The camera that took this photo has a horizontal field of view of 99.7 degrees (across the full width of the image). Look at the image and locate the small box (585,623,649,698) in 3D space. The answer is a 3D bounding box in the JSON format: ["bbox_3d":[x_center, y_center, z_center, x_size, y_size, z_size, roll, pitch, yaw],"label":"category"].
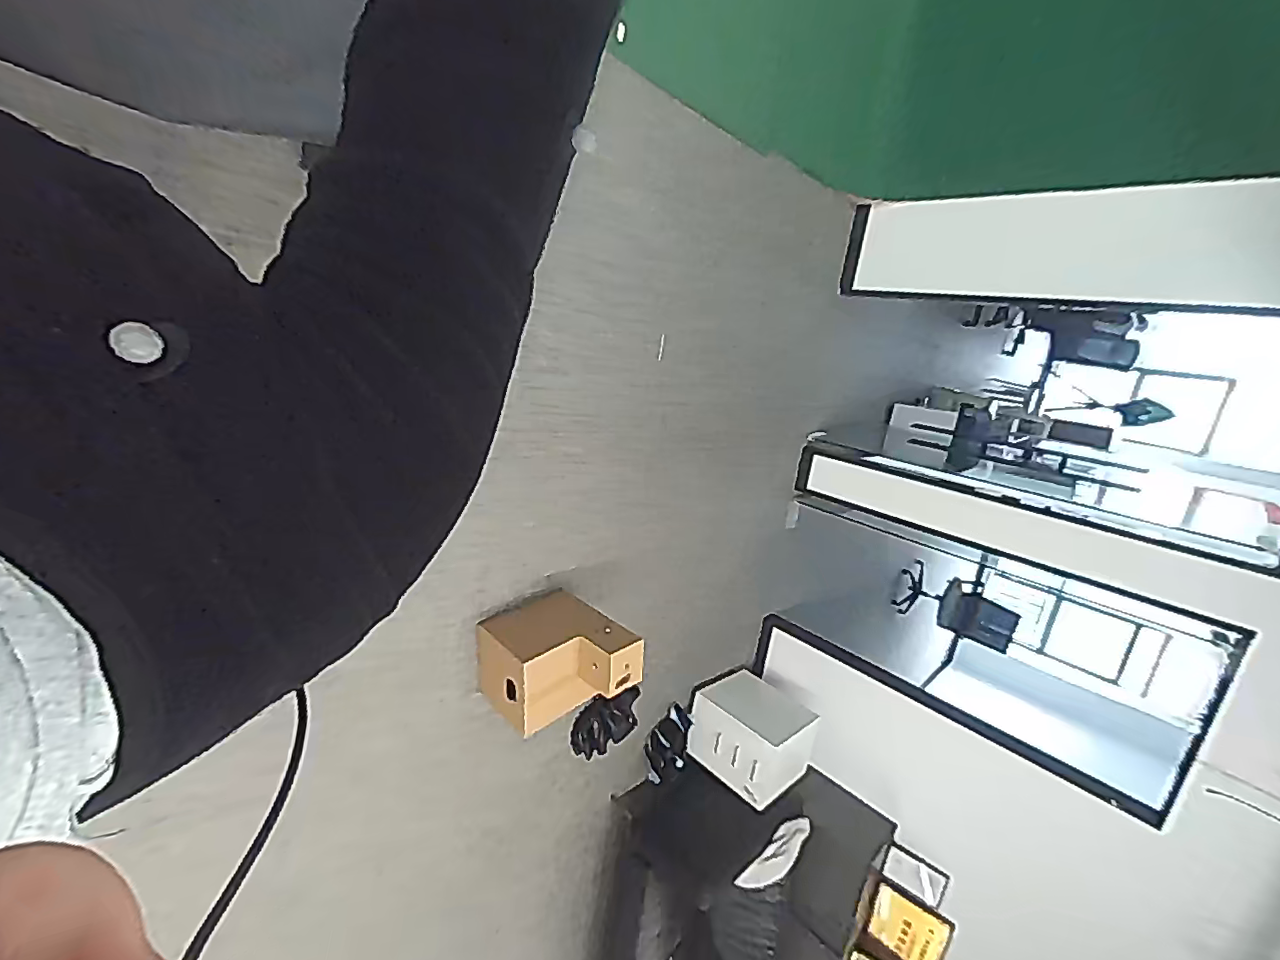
[{"bbox_3d":[-0.086,0.646,1.958,0.168,0.176,0.179,-13,109,-45],"label":"small box"}]
